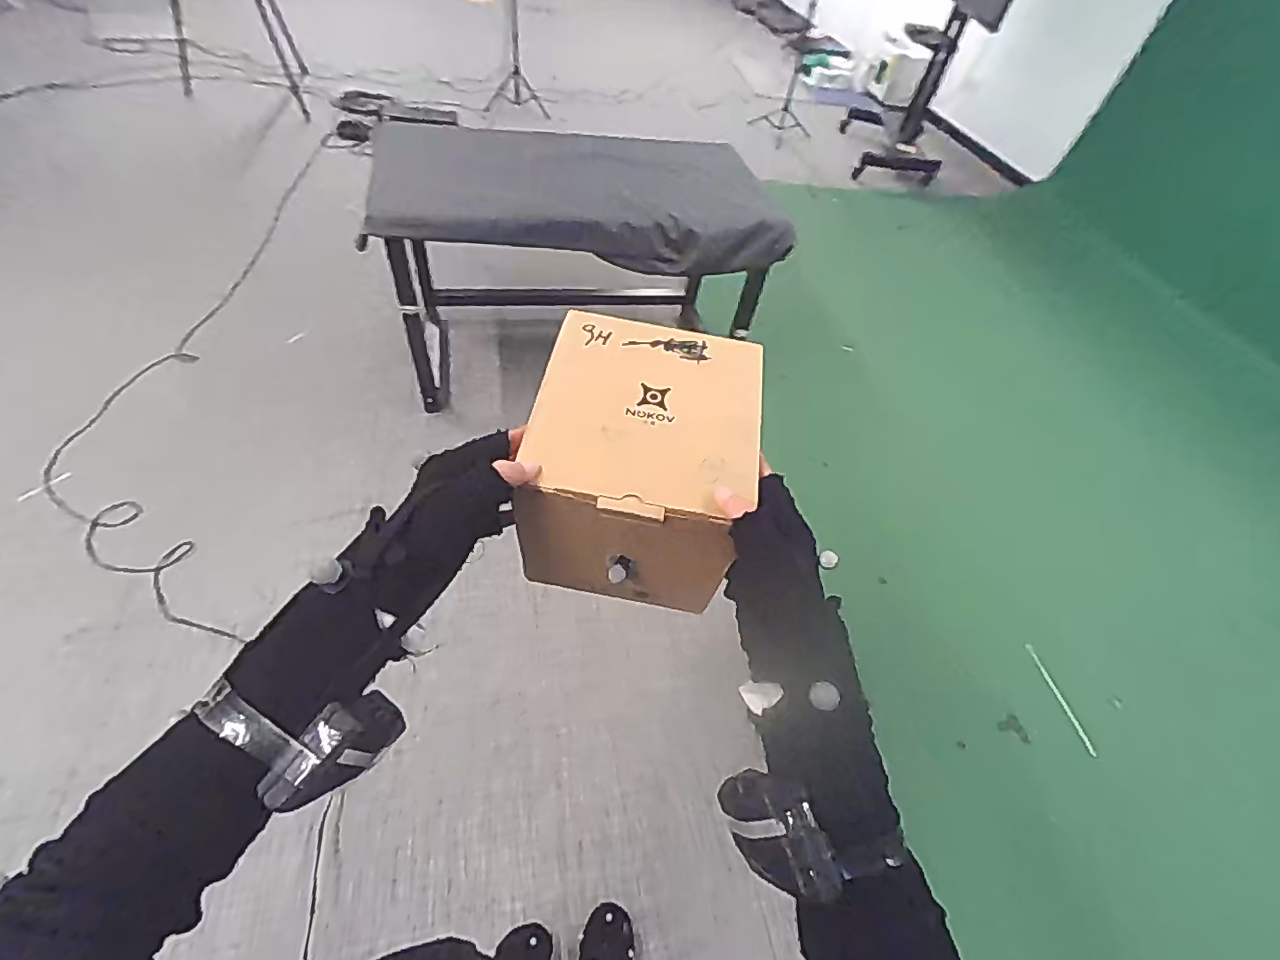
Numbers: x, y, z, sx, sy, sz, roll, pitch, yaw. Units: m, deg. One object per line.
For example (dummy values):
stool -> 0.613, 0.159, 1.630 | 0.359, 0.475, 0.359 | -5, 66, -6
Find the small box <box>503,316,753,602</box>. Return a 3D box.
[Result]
small box -> -0.005, -0.010, 0.472 | 0.168, 0.176, 0.179 | 10, 57, 1
